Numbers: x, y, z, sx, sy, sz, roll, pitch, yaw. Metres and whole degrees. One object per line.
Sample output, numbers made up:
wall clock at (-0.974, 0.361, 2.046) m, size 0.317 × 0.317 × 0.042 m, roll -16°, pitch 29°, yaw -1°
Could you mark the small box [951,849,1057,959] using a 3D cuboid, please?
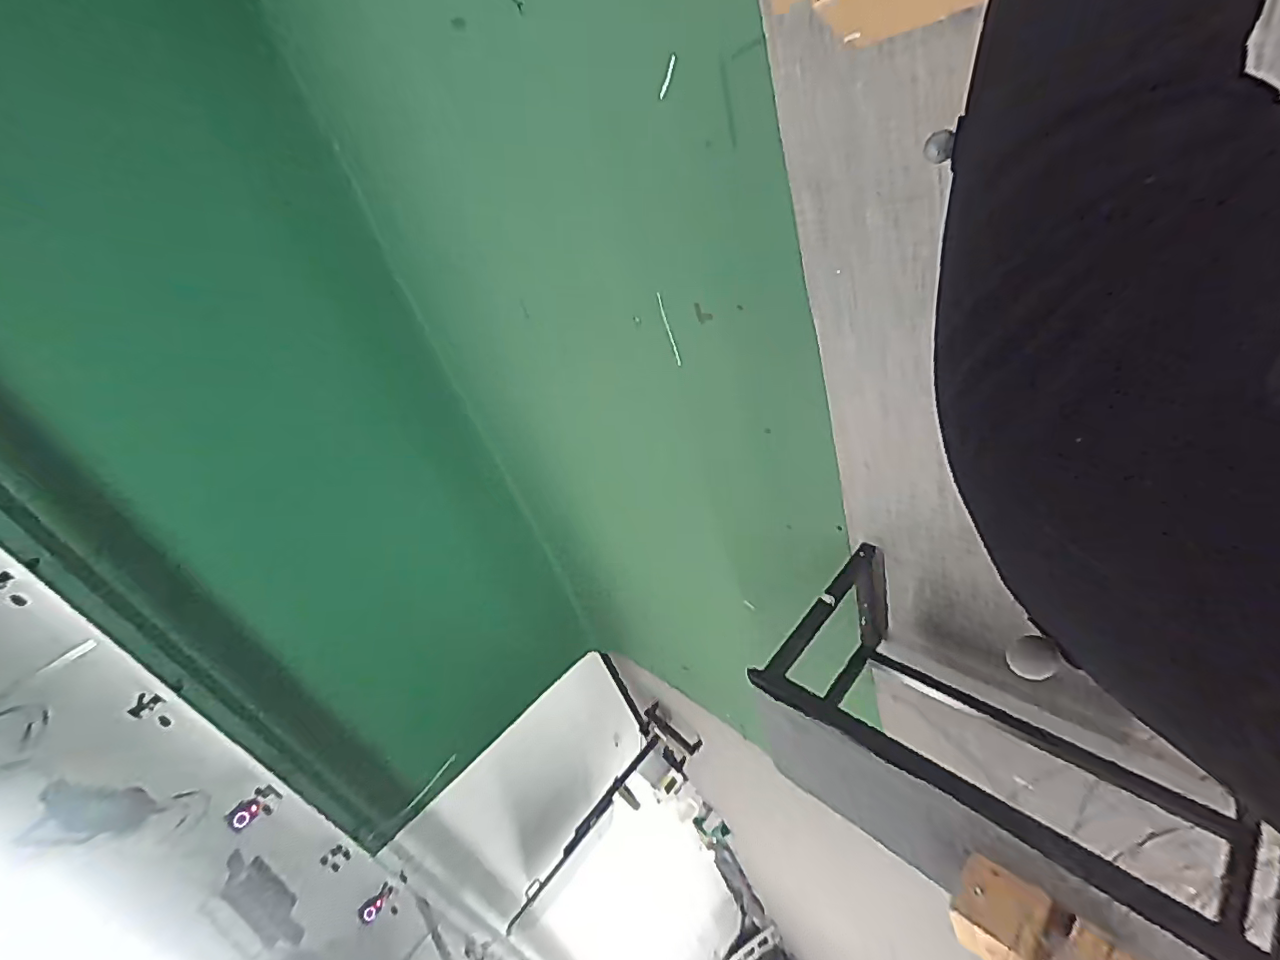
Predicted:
small box at (0.899, 1.067, 1.333) m, size 0.168 × 0.176 × 0.179 m, roll 9°, pitch 131°, yaw 53°
